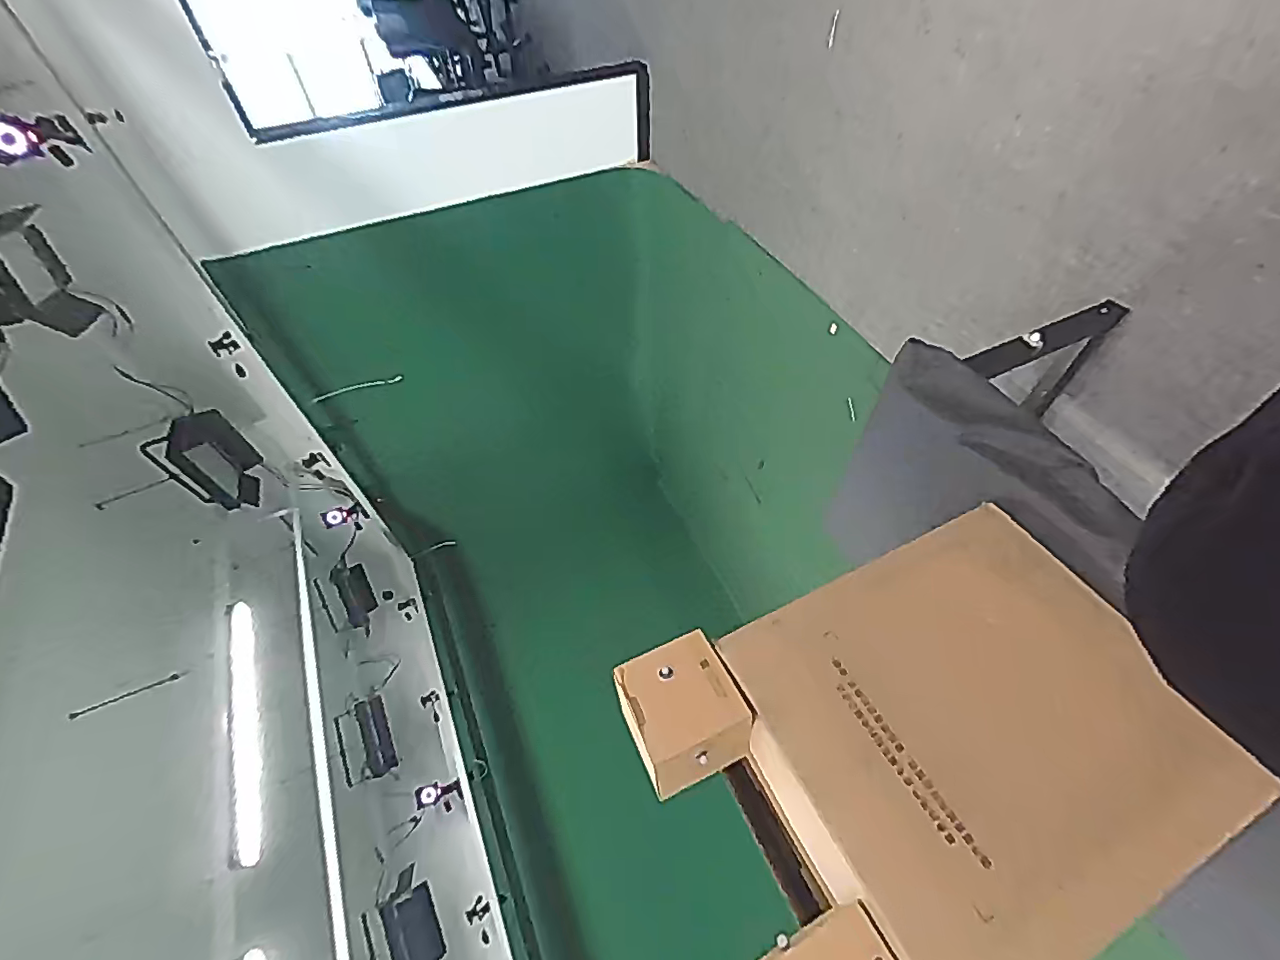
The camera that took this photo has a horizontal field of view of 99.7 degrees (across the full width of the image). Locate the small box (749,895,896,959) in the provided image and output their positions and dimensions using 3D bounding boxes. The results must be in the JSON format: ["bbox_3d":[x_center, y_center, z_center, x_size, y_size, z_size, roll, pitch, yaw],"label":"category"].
[{"bbox_3d":[0.243,0.664,0.684,0.168,0.176,0.179,56,160,38],"label":"small box"}]

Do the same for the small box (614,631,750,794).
[{"bbox_3d":[0.072,0.384,0.907,0.179,0.176,0.168,82,163,-45],"label":"small box"}]
